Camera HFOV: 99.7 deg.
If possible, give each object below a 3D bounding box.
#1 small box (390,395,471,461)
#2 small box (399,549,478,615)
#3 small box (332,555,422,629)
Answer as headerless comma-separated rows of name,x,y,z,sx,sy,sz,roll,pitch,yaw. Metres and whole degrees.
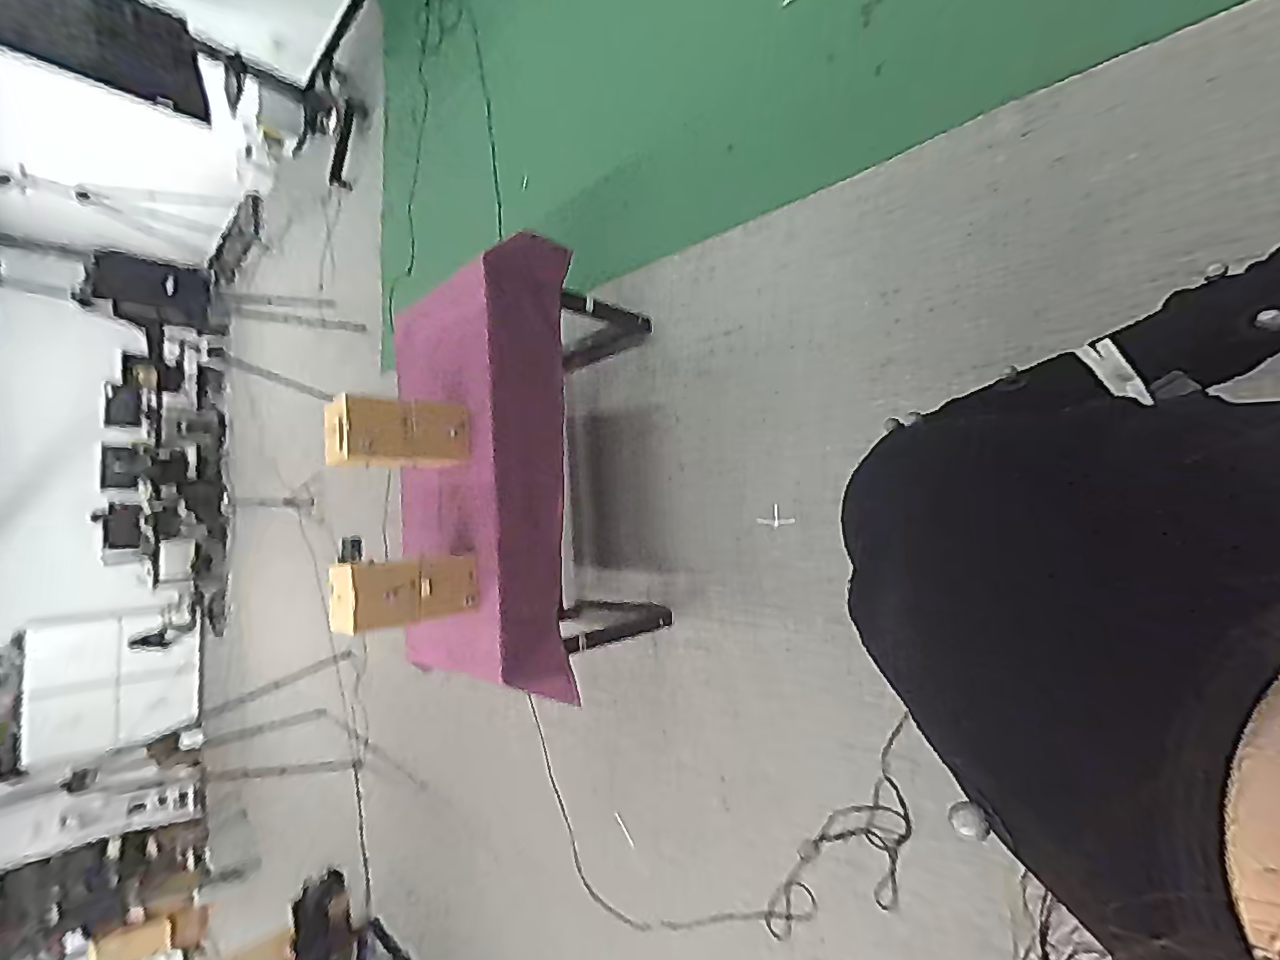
small box,-0.615,-0.144,1.585,0.179,0.176,0.168,-5,86,43
small box,-0.575,0.285,1.541,0.179,0.176,0.168,-10,82,44
small box,-0.688,0.287,1.422,0.179,0.176,0.168,-7,84,42
